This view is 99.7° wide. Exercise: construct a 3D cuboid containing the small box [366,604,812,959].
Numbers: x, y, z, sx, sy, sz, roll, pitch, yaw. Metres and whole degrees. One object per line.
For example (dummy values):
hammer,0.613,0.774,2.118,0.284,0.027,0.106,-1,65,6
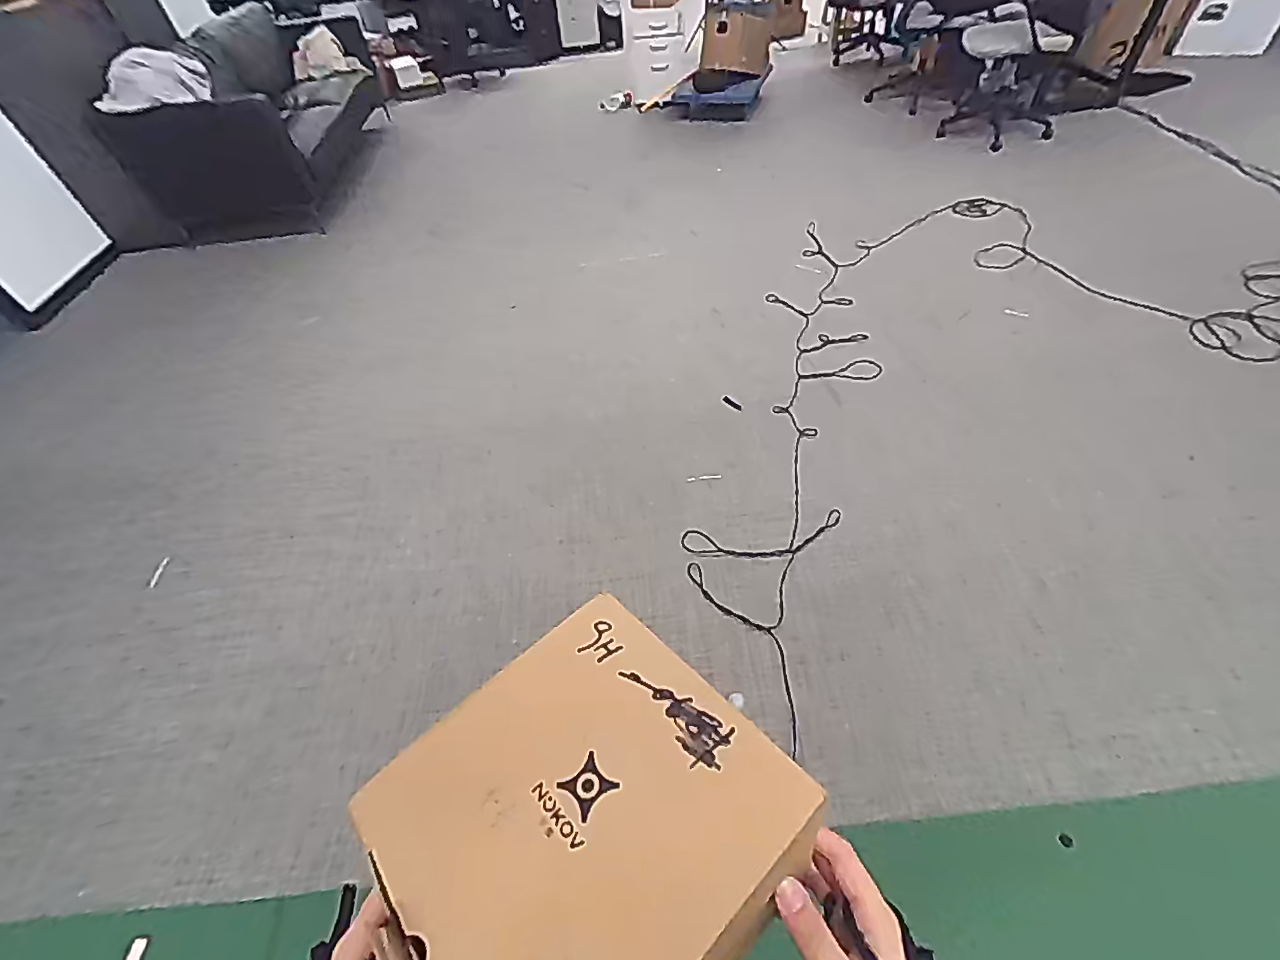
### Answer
small box,-0.018,0.219,0.325,0.179,0.176,0.168,-37,49,-24
